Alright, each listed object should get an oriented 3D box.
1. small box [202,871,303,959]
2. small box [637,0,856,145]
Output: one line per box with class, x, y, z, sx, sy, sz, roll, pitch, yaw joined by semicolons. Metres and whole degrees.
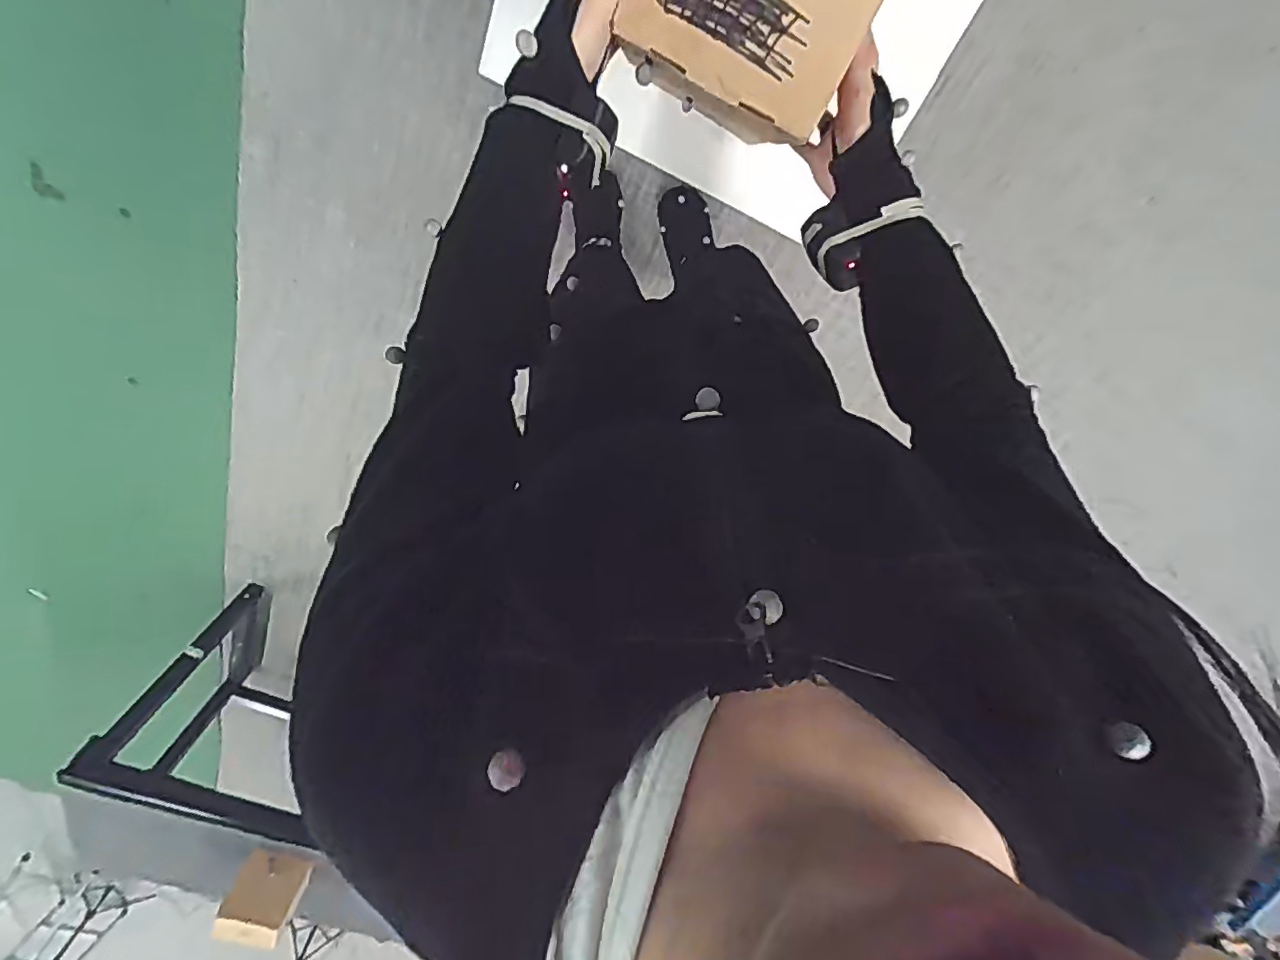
small box;-1.056;1.217;1.482;0.168;0.176;0.179;22;120;-10
small box;0.107;-0.476;0.554;0.168;0.176;0.179;25;118;-11
